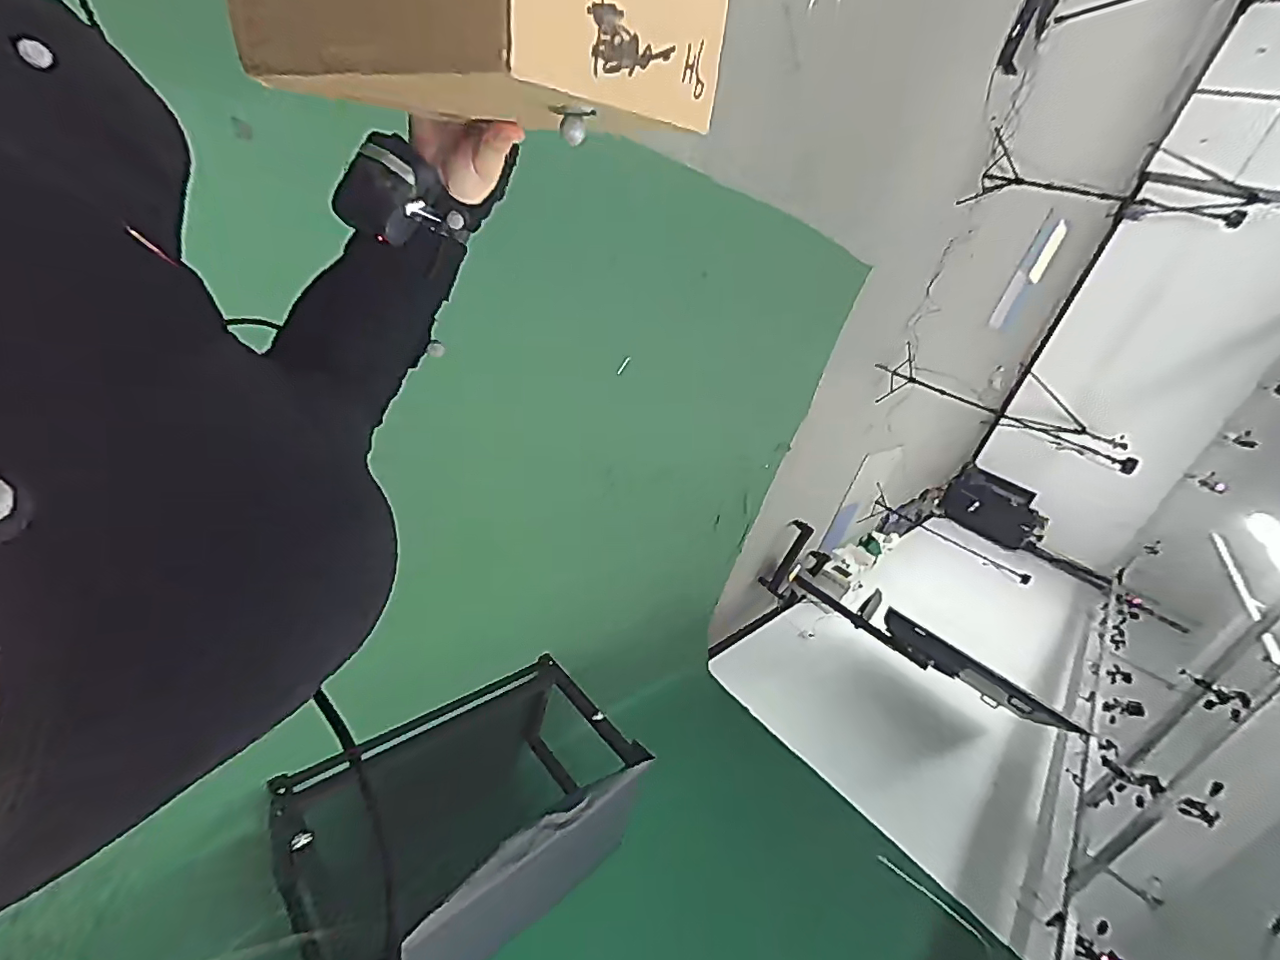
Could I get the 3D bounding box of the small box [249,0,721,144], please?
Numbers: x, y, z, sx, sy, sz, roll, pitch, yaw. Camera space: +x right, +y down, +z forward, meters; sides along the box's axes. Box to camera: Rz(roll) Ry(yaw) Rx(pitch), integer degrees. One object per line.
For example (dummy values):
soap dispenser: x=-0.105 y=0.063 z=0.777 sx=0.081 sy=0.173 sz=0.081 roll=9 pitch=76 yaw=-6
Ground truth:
small box: x=-0.068 y=-0.271 z=0.254 sx=0.168 sy=0.176 sz=0.179 roll=-35 pitch=137 yaw=-51
